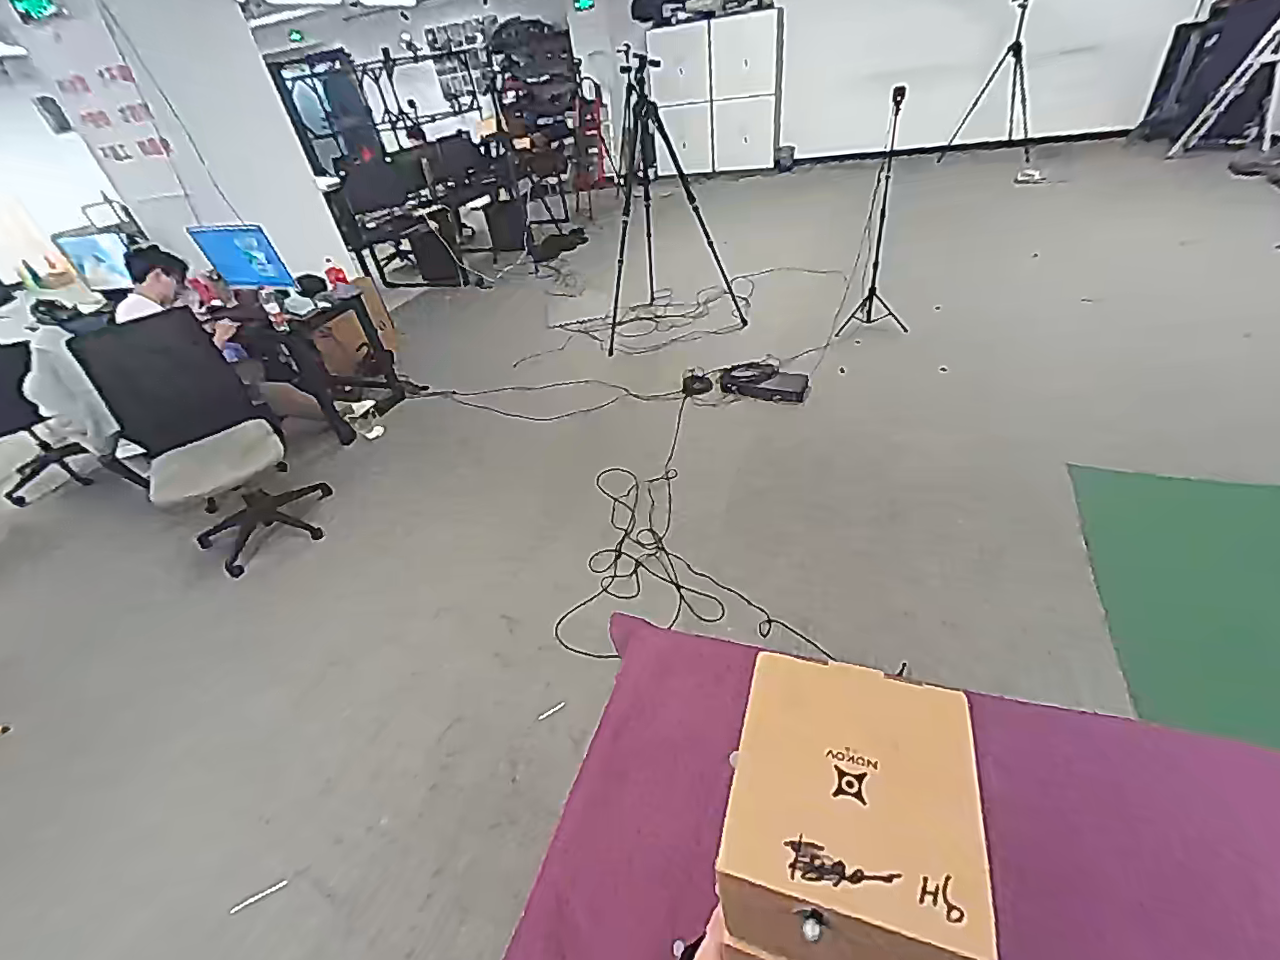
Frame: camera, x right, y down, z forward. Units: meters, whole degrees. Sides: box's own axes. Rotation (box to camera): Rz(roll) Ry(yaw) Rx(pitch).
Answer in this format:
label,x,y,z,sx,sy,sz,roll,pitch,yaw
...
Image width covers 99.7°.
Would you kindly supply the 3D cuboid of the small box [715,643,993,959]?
label,x,y,z,sx,sy,sz,roll,pitch,yaw
small box,0.163,0.269,0.441,0.168,0.176,0.179,6,41,21
